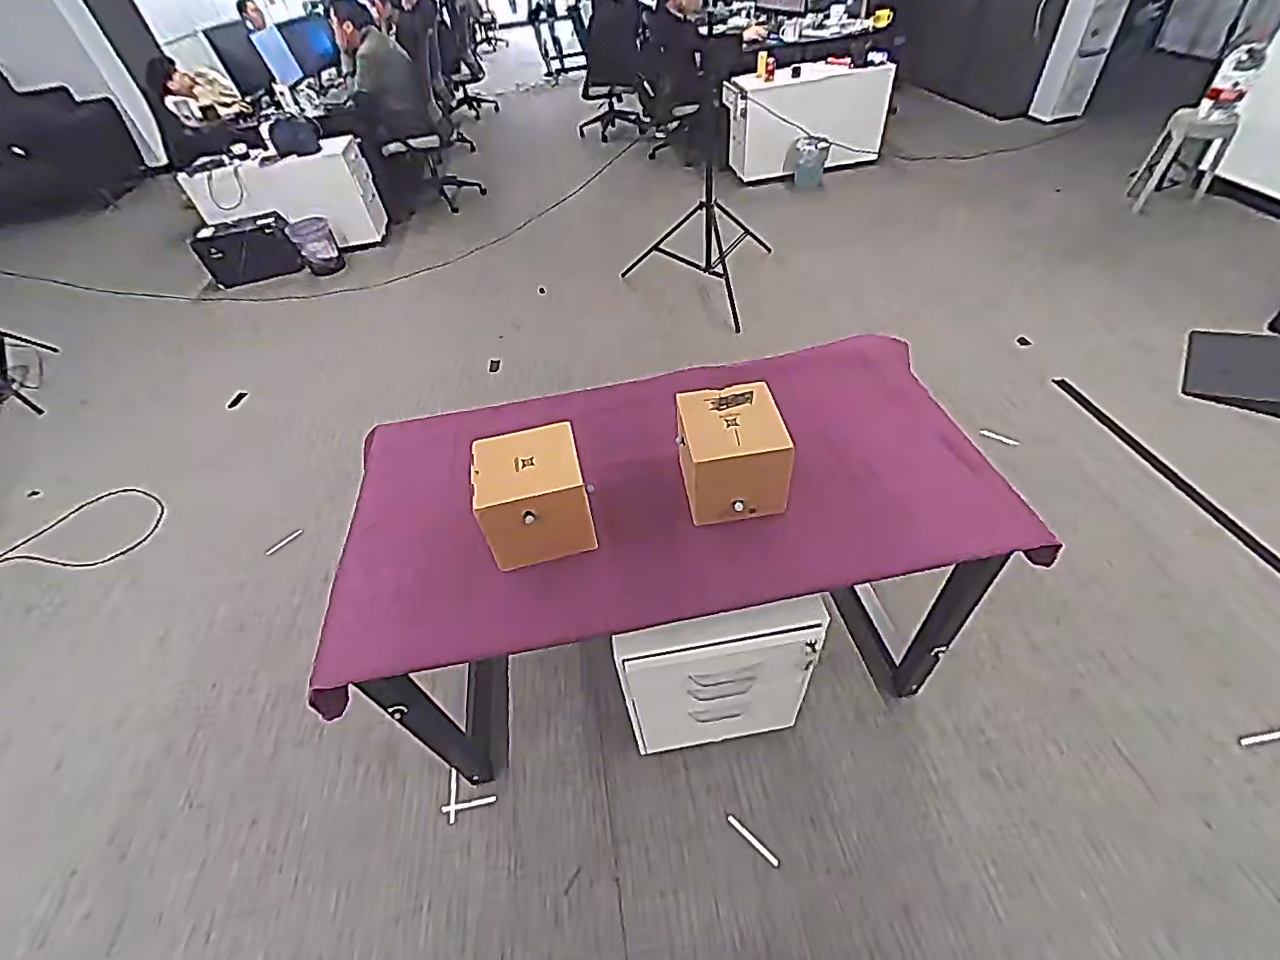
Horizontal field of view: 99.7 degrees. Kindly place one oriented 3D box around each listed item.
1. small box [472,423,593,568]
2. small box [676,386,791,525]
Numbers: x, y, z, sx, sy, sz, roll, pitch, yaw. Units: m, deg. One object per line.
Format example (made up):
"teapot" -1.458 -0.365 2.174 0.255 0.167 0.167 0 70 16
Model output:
"small box" -0.184 0.030 0.952 0.179 0.176 0.168 -13 46 -5
"small box" 0.159 -0.044 0.975 0.168 0.176 0.179 -9 47 0
